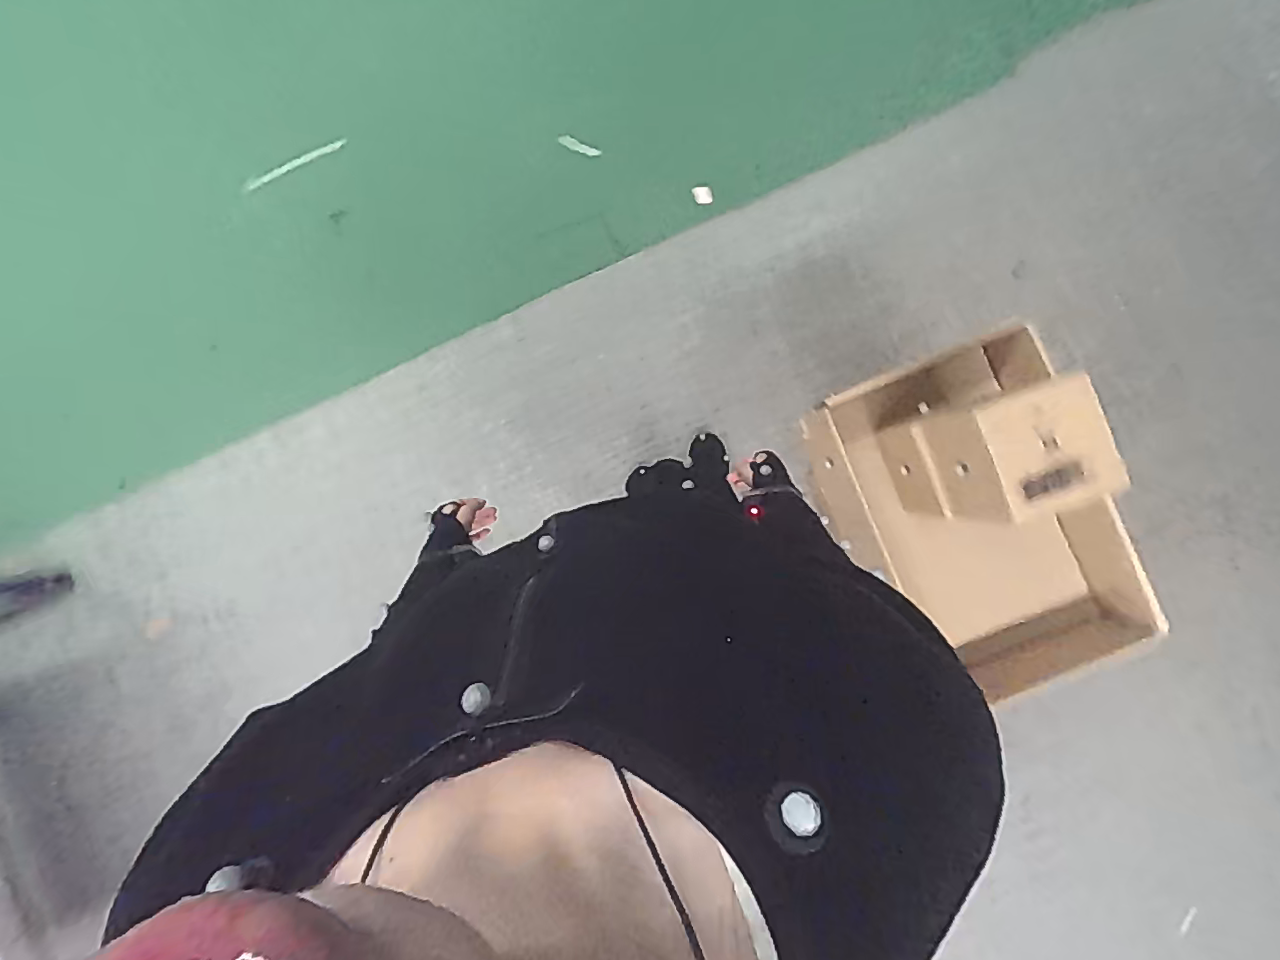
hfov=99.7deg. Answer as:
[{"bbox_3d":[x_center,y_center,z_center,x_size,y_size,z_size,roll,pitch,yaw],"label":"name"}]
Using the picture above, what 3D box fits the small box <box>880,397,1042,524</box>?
[{"bbox_3d":[0.572,-0.035,0.987,0.168,0.176,0.179,-21,89,3],"label":"small box"}]
